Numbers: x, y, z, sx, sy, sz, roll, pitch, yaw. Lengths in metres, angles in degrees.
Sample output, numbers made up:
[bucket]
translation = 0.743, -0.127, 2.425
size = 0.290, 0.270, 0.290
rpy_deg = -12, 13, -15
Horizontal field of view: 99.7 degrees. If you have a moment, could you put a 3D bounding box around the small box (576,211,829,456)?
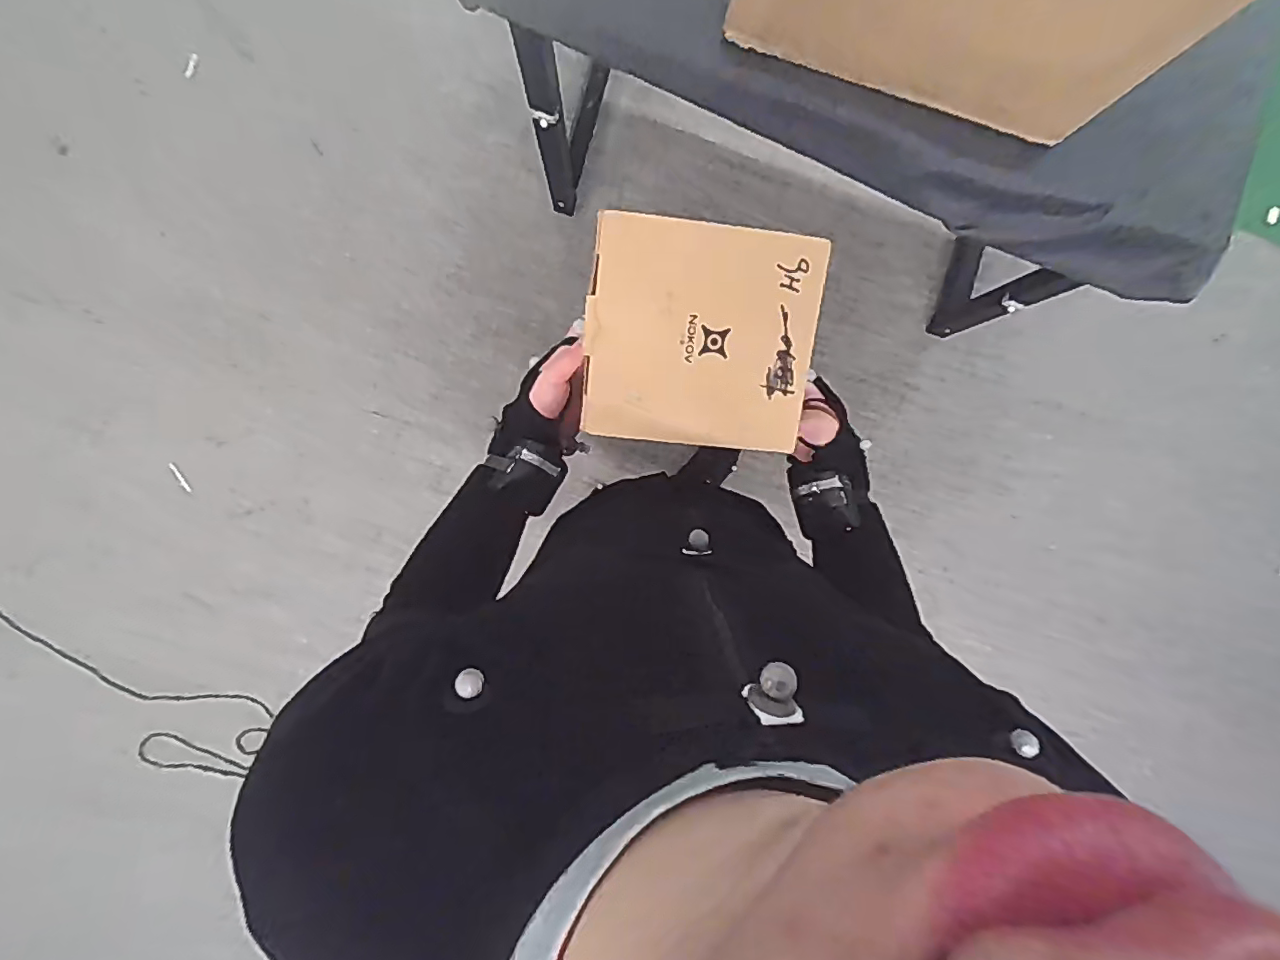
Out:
[small box]
translation = 0.041, -0.127, 0.494
size = 0.179, 0.176, 0.168
rpy_deg = 6, 105, -5
